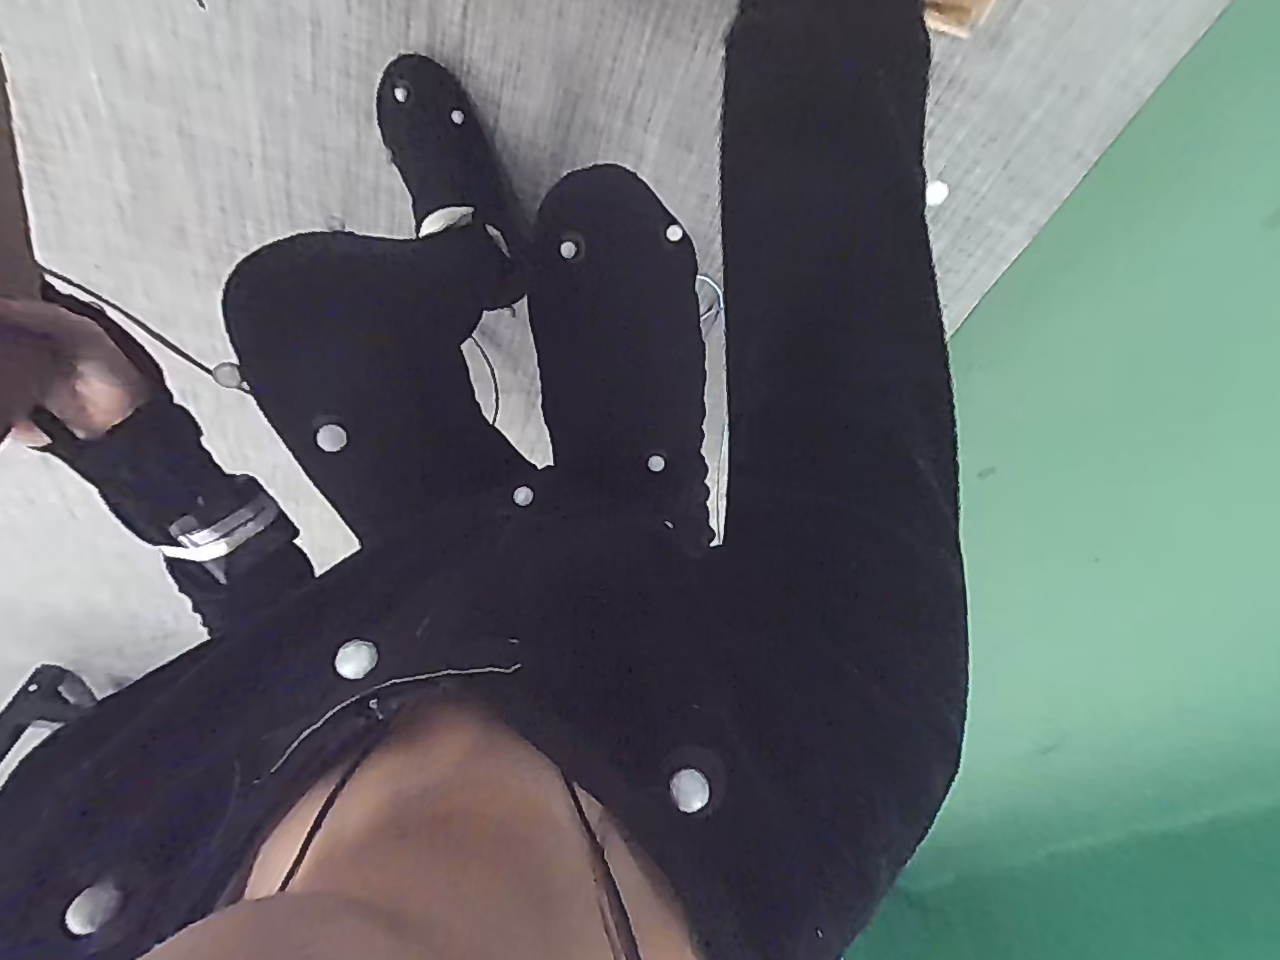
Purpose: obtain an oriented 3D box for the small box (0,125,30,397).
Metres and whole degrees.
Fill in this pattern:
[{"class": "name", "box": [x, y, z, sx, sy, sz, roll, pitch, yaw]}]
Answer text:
[{"class": "small box", "box": [-0.333, -0.073, 0.155, 0.168, 0.176, 0.179, 13, 131, -32]}]
